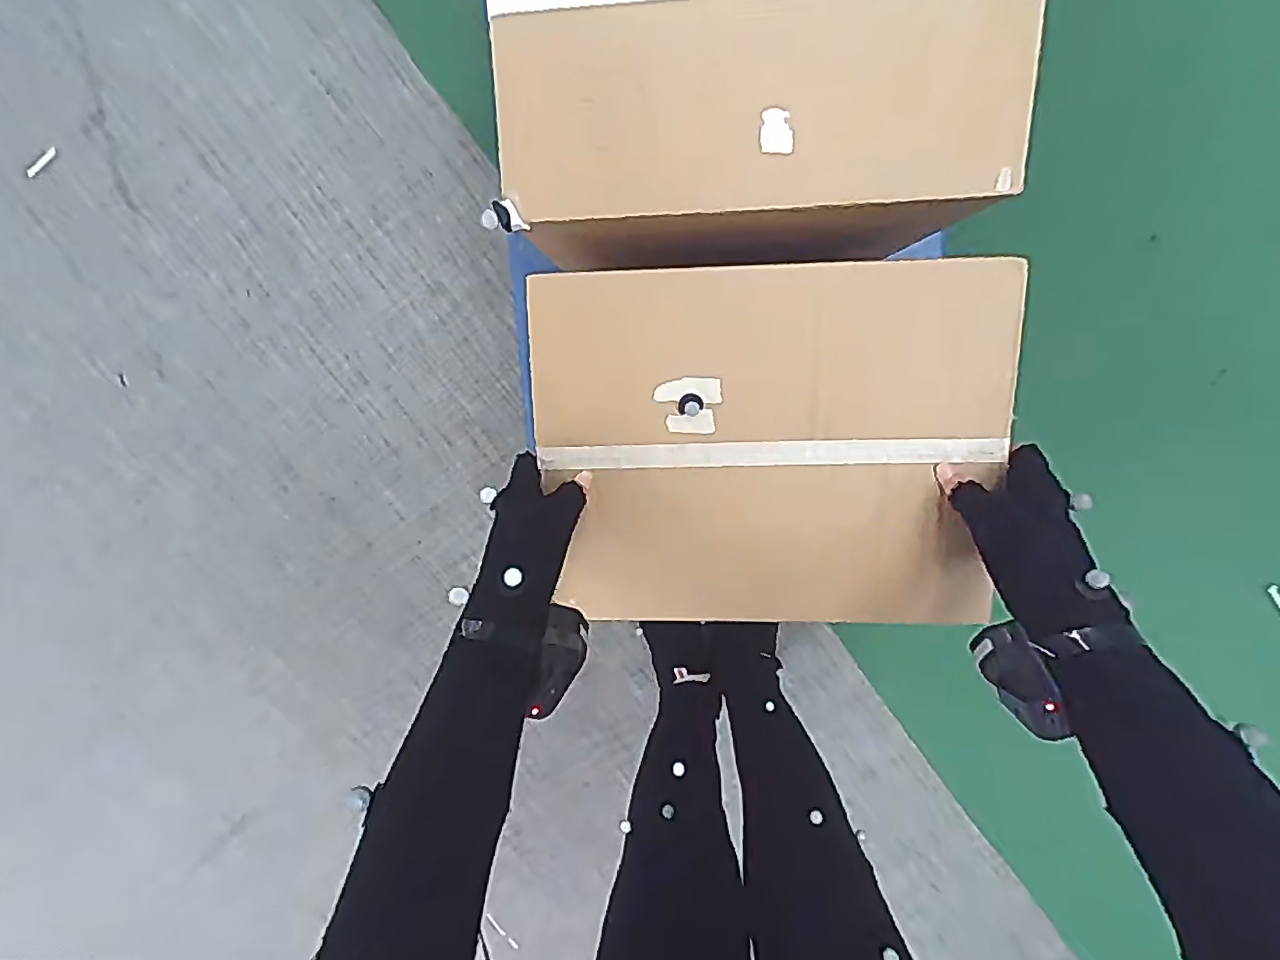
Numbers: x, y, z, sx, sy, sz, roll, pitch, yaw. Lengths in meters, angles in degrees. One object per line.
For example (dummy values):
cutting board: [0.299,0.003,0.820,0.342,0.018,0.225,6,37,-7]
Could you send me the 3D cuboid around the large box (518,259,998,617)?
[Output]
large box: [0.110,-0.052,0.624,0.408,0.320,0.320,0,101,5]
